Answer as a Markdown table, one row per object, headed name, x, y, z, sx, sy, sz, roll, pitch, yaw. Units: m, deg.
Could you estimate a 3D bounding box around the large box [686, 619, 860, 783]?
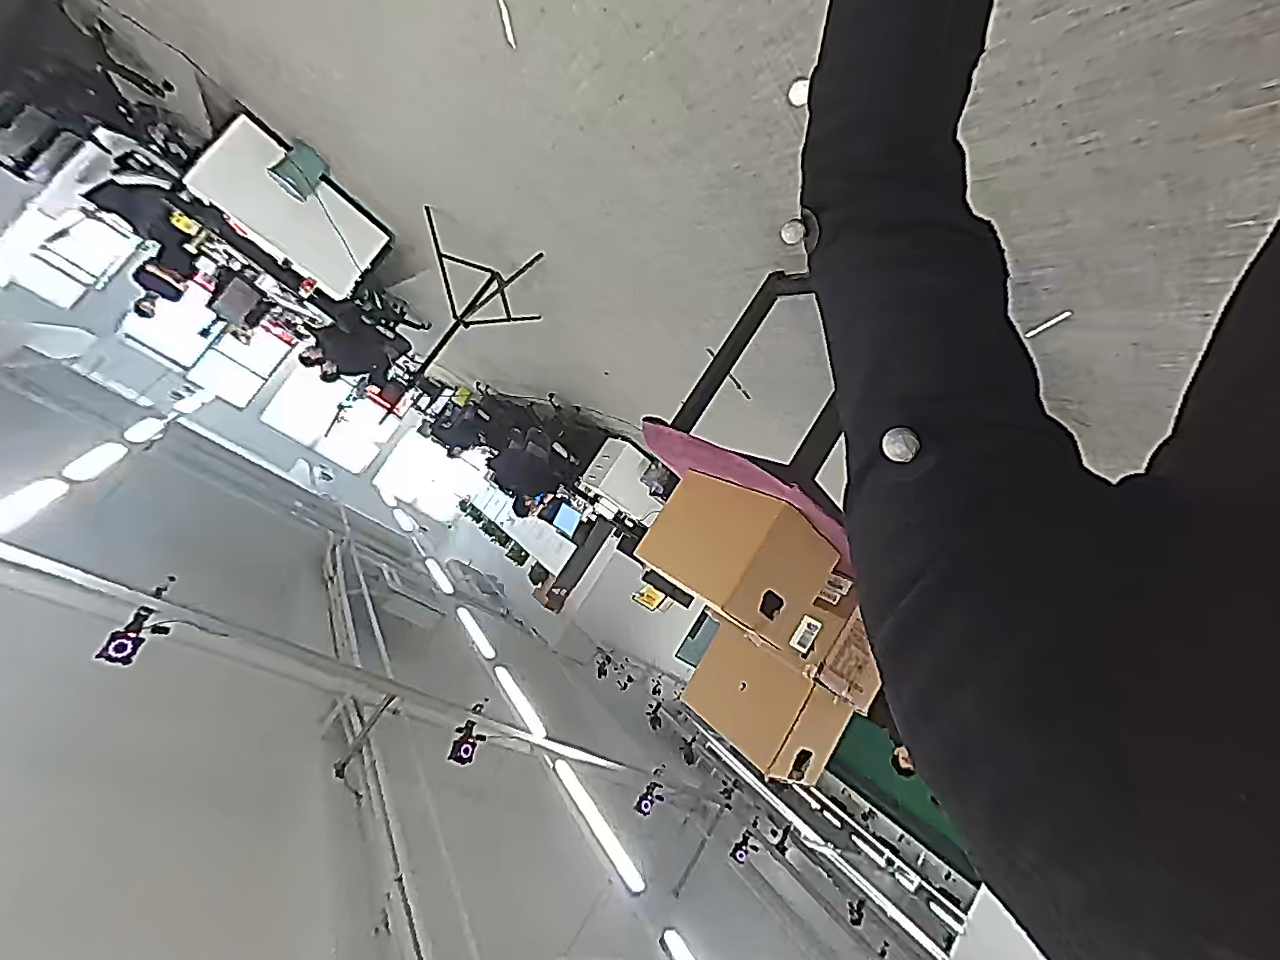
| name | x | y | z | sx | sy | sz | roll | pitch | yaw |
| --- | --- | --- | --- | --- | --- | --- | --- | --- | --- |
| large box | 0.435 | 0.721 | 1.805 | 0.320 | 0.320 | 0.408 | 34 | 173 | -36 |
